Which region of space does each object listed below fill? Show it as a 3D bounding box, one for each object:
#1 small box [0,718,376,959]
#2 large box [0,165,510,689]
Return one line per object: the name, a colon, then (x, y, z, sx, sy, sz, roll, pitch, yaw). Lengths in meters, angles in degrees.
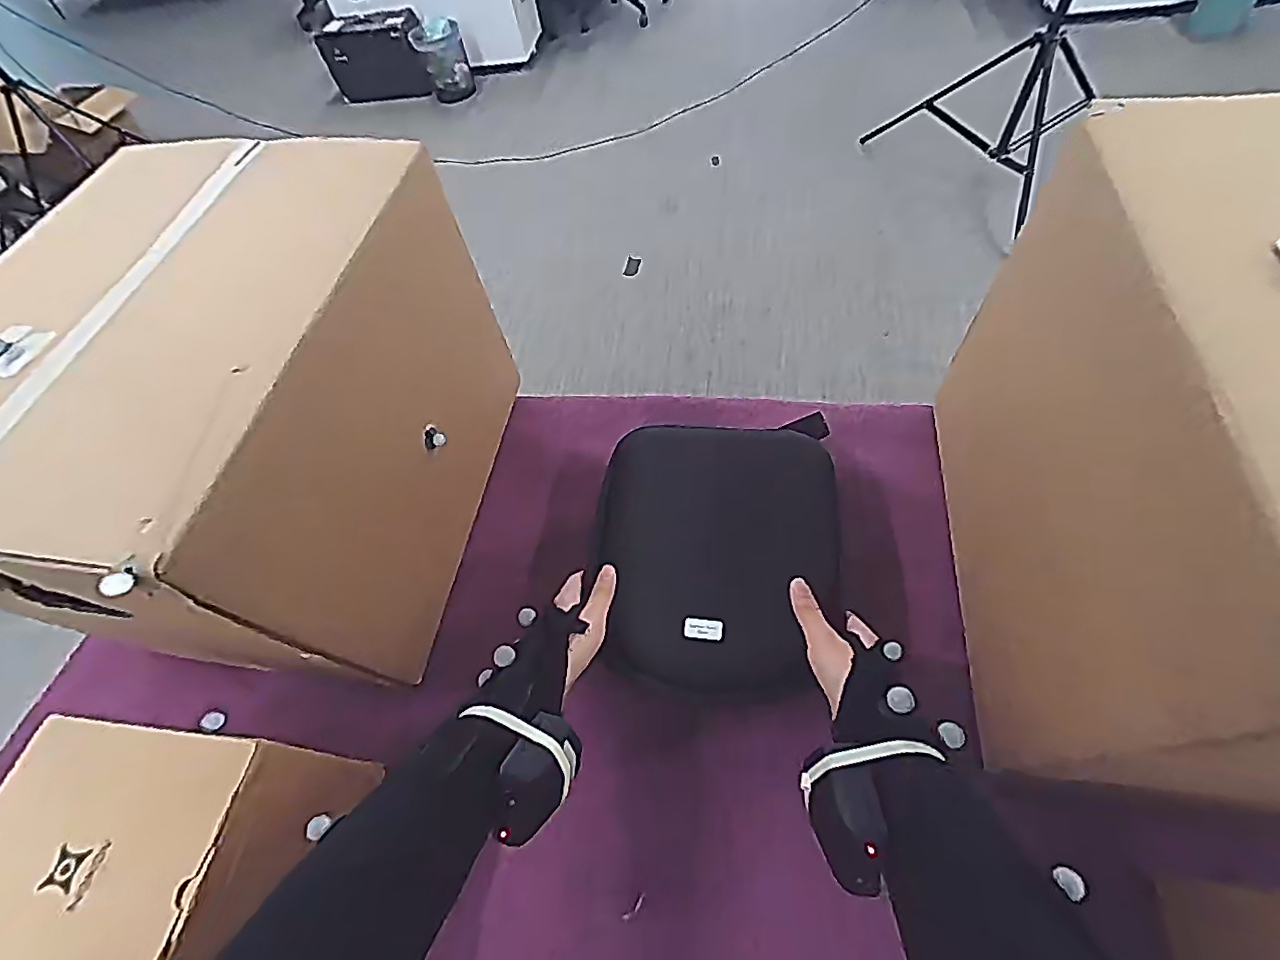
small box: (-0.343, 0.289, 0.405, 0.179, 0.176, 0.168, 2, 57, 8)
large box: (-0.355, -0.043, 0.534, 0.320, 0.320, 0.408, 3, 61, 9)
